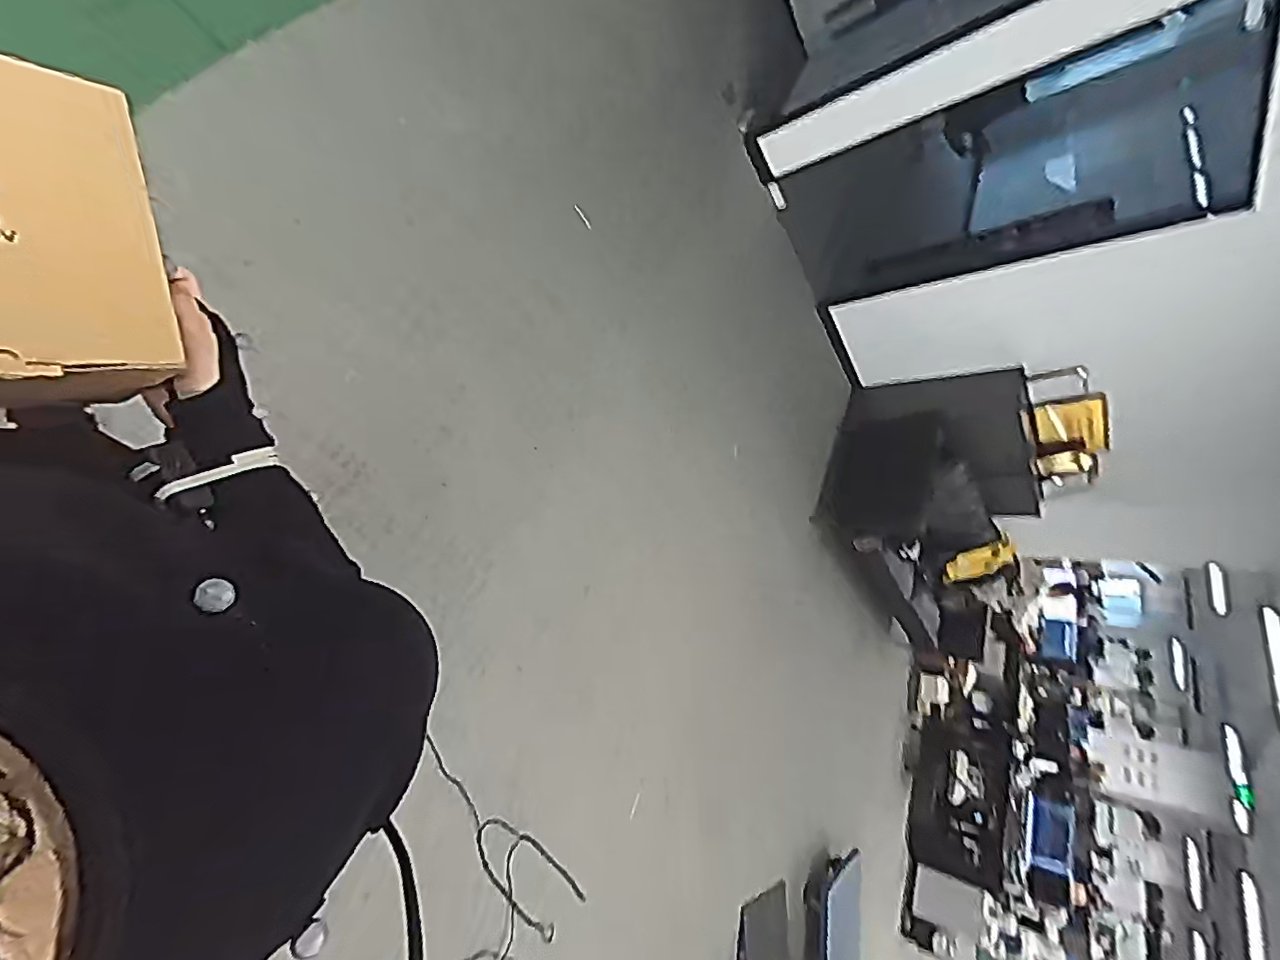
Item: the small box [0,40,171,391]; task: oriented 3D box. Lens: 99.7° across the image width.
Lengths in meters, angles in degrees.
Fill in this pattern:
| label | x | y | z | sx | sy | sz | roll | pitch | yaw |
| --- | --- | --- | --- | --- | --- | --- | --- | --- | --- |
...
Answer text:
| label | x | y | z | sx | sy | sz | roll | pitch | yaw |
| --- | --- | --- | --- | --- | --- | --- | --- | --- | --- |
| small box | -0.431 | -0.150 | 0.325 | 0.168 | 0.176 | 0.179 | -19 | 104 | -55 |
